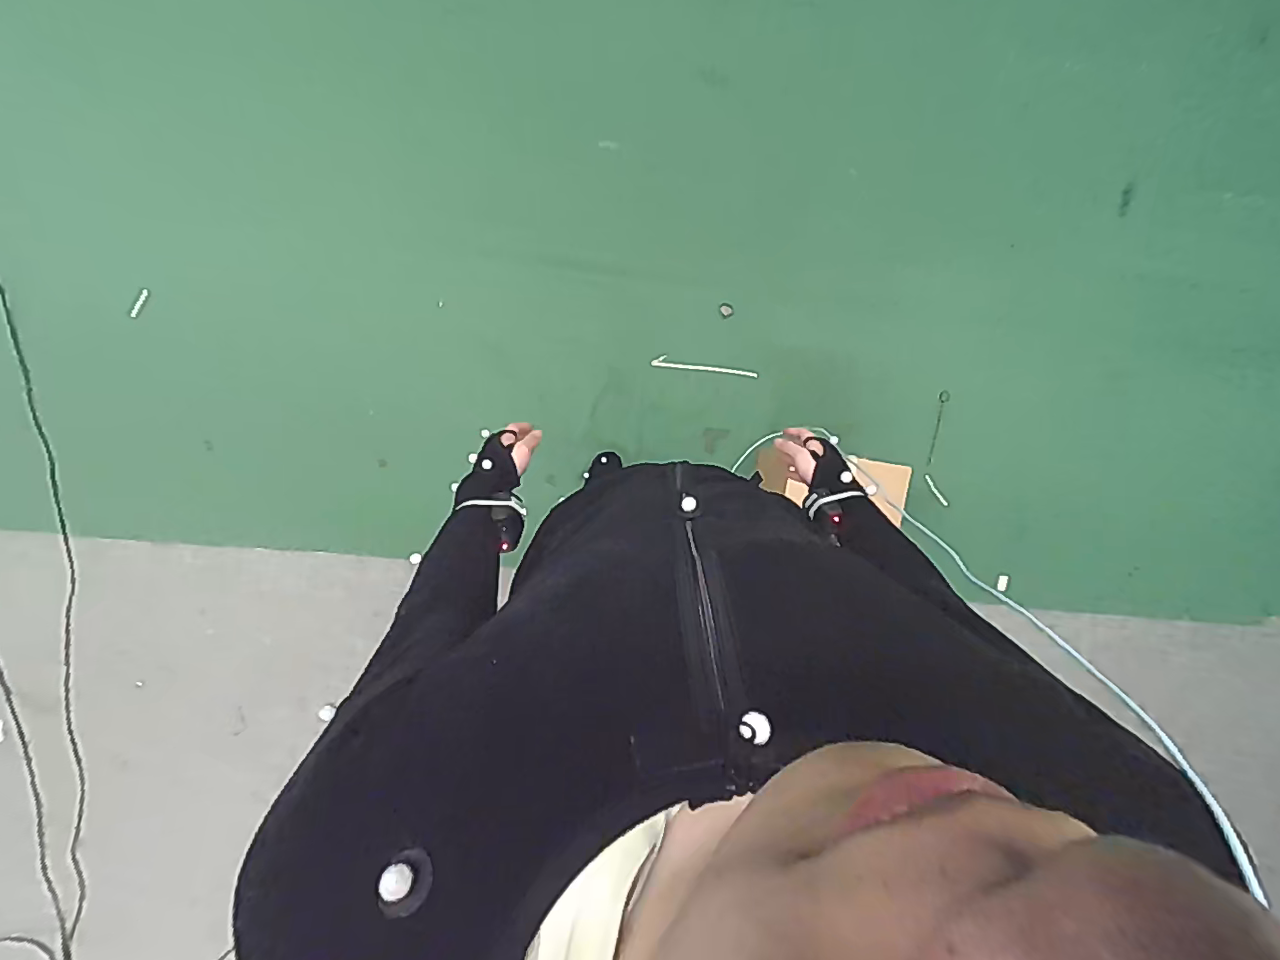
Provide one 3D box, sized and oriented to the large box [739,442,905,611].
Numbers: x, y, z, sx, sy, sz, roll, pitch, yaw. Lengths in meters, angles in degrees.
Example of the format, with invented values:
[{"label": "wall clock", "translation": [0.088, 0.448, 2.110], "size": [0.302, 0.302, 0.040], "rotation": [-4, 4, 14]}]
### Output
[{"label": "large box", "translation": [0.492, 0.112, 1.529], "size": [0.320, 0.320, 0.408], "rotation": [8, 96, -3]}]
